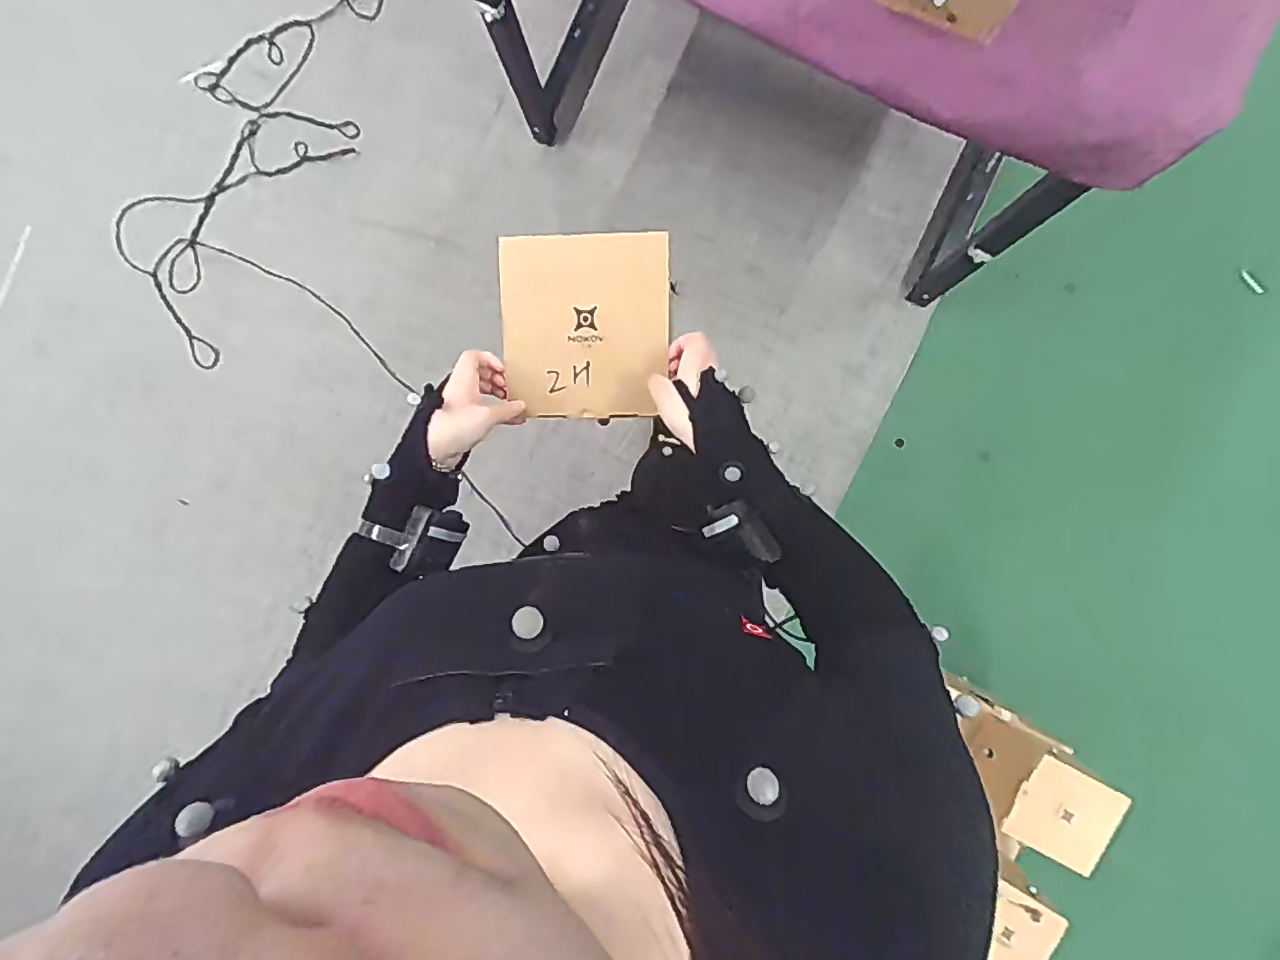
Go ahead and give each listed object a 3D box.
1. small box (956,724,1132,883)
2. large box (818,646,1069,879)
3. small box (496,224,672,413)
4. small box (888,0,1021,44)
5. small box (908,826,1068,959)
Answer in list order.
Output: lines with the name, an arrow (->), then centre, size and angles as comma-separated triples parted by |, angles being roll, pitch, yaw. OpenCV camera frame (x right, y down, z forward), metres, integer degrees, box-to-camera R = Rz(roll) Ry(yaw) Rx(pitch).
small box -> 0.763, 0.608, 1.042 | 0.179, 0.176, 0.168 | 27, 93, 3
large box -> 0.687, 0.679, 1.290 | 0.320, 0.320, 0.408 | 27, 93, 4
small box -> -0.050, -0.165, 0.595 | 0.168, 0.176, 0.179 | 0, 100, 5
small box -> 0.428, -0.695, 0.650 | 0.168, 0.176, 0.179 | 26, 92, 4
small box -> 0.654, 0.832, 1.047 | 0.168, 0.176, 0.179 | 32, 92, 3
